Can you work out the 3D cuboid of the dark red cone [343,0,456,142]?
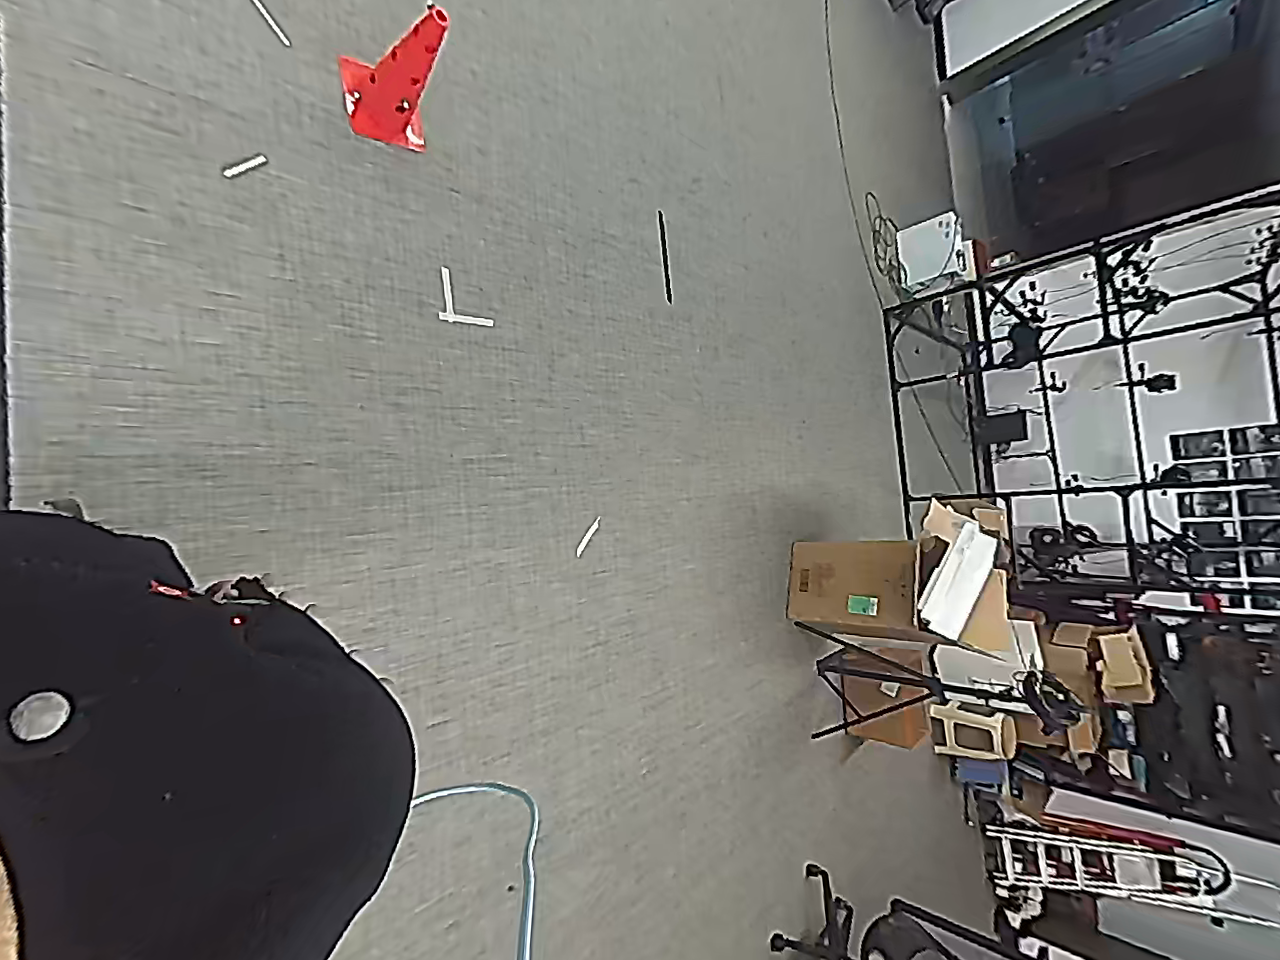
[{"bbox_3d":[-0.552,-1.024,1.310,0.201,0.394,0.202,-13,94,-44],"label":"dark red cone"}]
